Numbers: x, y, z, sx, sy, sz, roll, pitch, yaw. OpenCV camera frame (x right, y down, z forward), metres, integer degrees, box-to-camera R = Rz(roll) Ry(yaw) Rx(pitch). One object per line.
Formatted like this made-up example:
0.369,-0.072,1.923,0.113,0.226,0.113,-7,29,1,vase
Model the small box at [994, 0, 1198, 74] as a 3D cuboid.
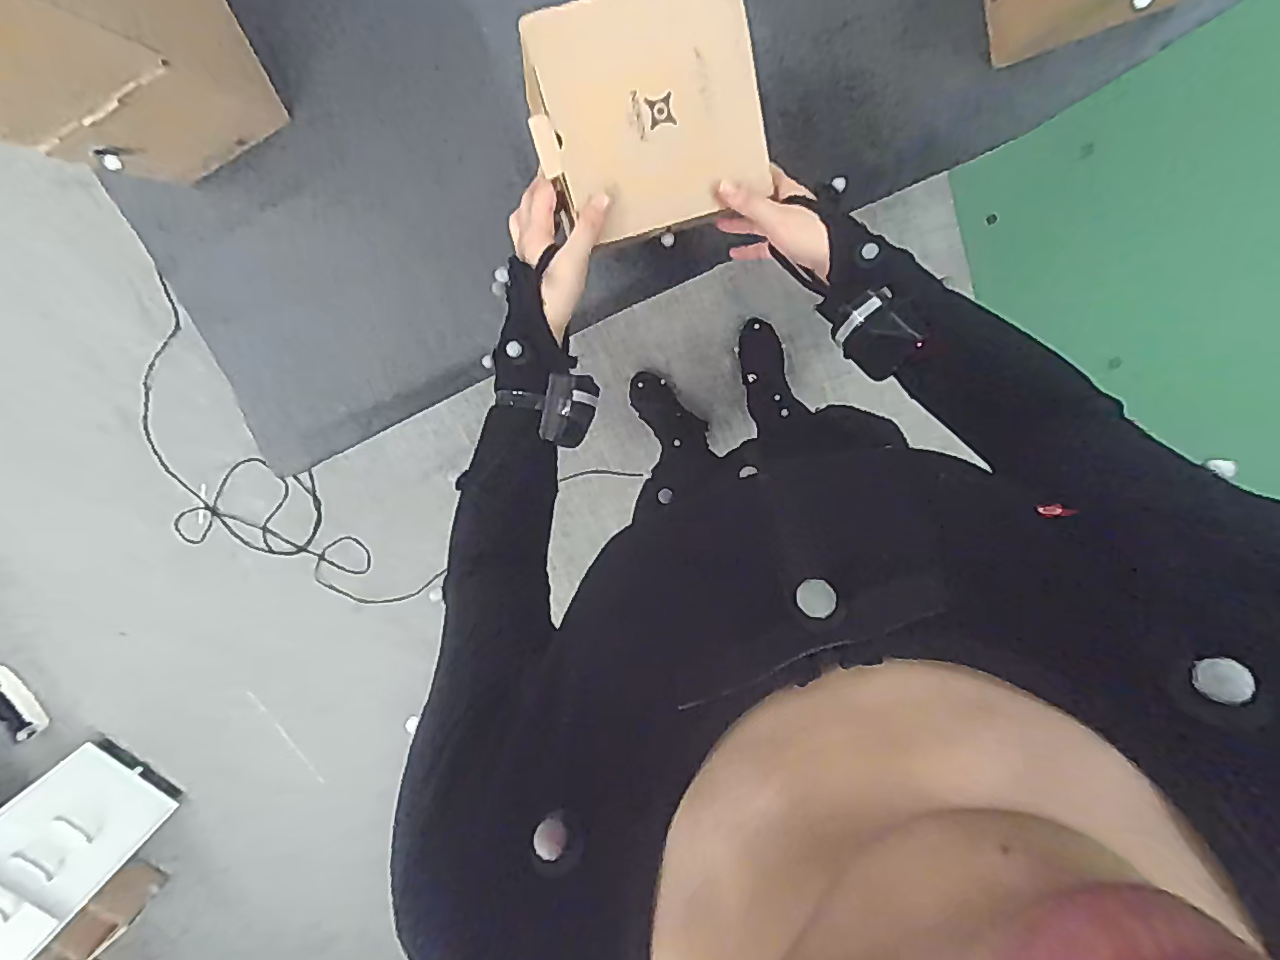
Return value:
0.417,-0.484,0.447,0.179,0.176,0.168,-15,104,11,small box
